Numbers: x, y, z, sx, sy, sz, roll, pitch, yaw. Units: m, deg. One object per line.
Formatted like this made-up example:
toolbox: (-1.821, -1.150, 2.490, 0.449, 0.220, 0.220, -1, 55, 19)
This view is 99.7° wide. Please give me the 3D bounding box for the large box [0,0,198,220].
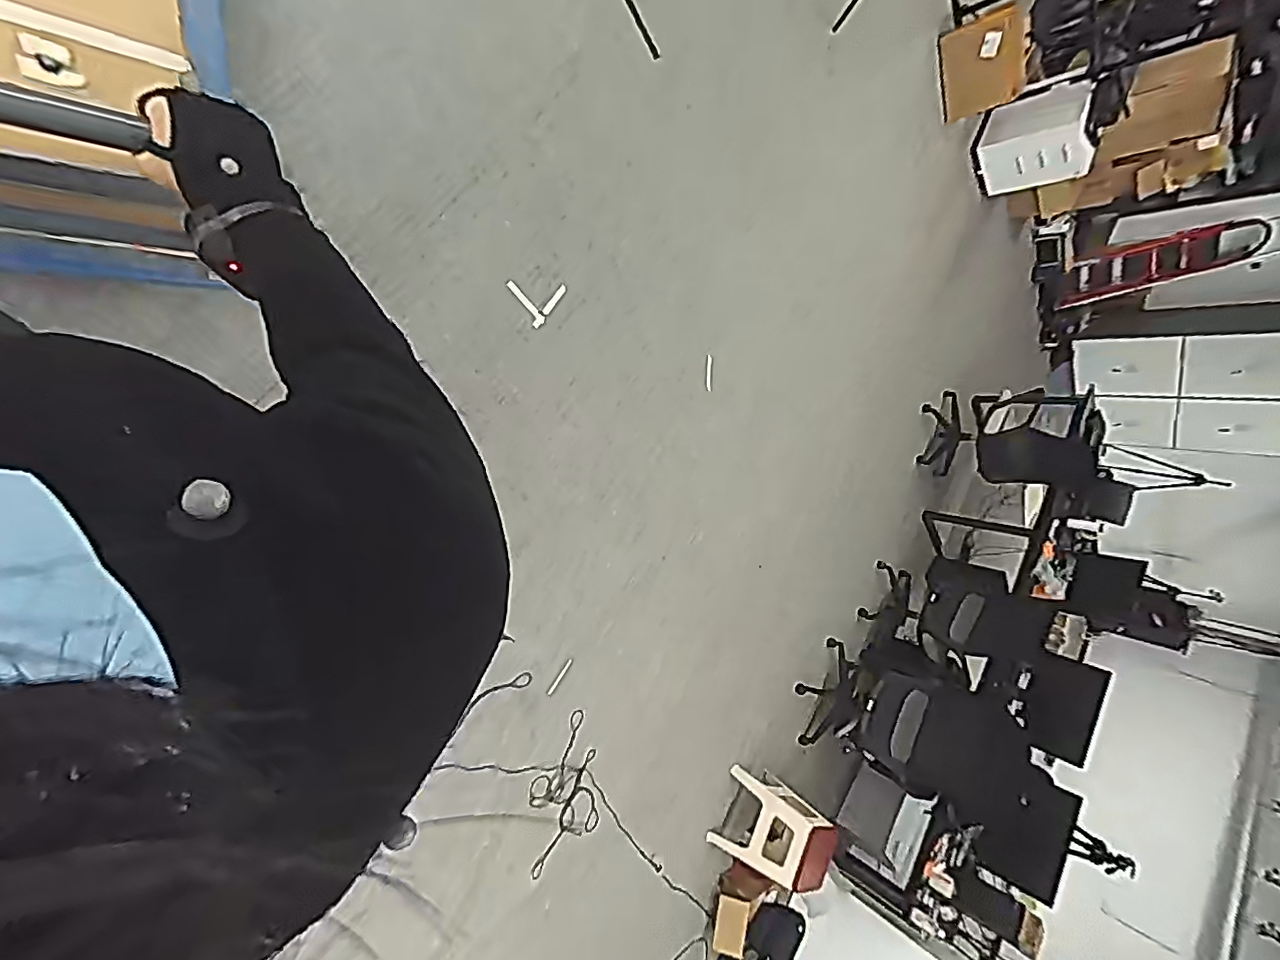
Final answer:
large box: (-0.880, -0.575, 0.717, 0.408, 0.320, 0.320, -9, 105, -43)
